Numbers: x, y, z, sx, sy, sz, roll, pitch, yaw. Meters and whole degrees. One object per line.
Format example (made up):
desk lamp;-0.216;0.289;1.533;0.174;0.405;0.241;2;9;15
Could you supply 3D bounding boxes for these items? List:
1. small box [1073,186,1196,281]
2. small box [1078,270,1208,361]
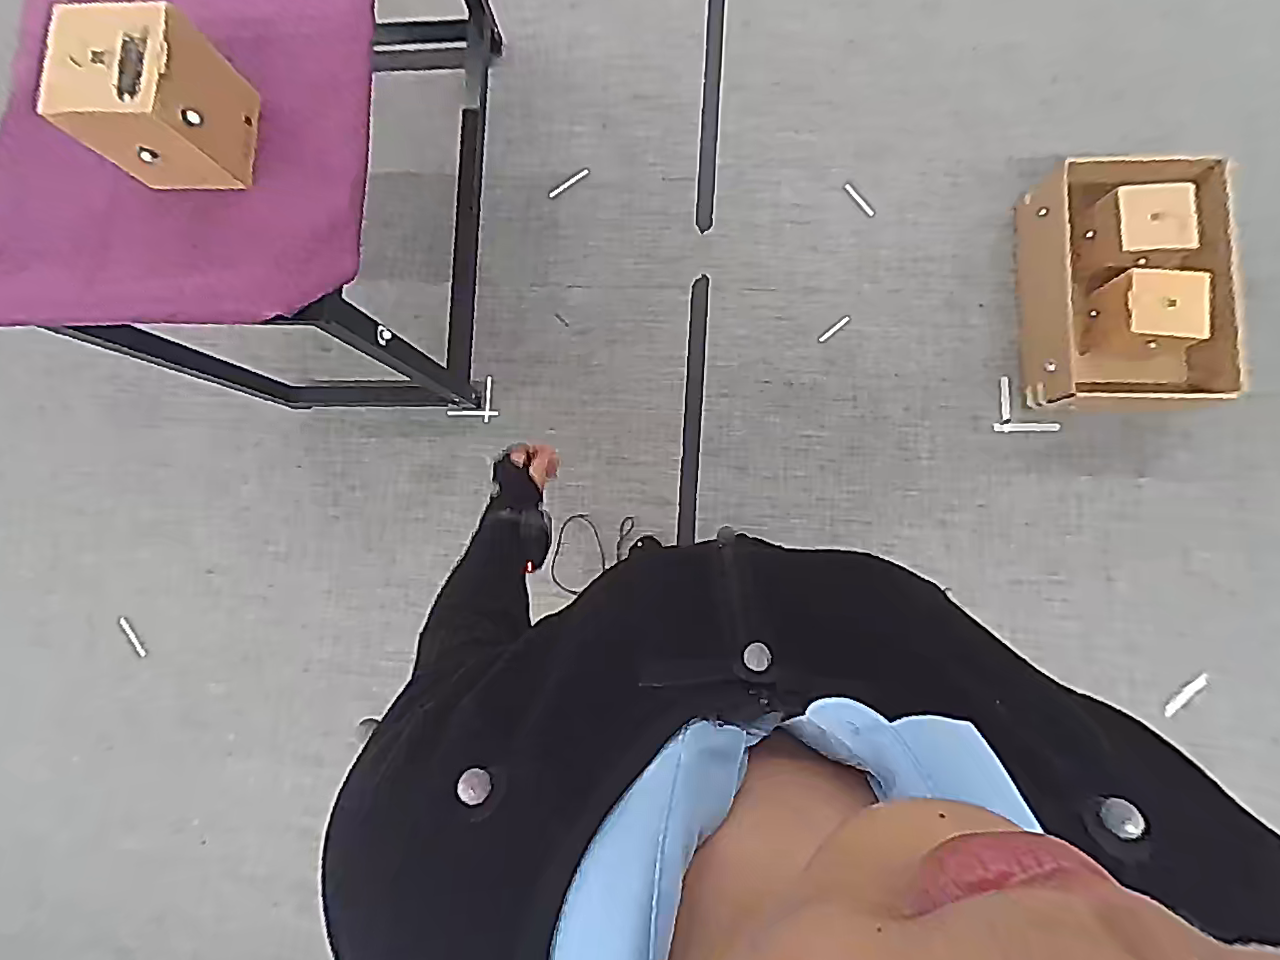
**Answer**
small box;1.257;-0.627;1.391;0.179;0.176;0.168;0;86;4
small box;1.270;-0.410;1.373;0.179;0.176;0.168;7;84;5
